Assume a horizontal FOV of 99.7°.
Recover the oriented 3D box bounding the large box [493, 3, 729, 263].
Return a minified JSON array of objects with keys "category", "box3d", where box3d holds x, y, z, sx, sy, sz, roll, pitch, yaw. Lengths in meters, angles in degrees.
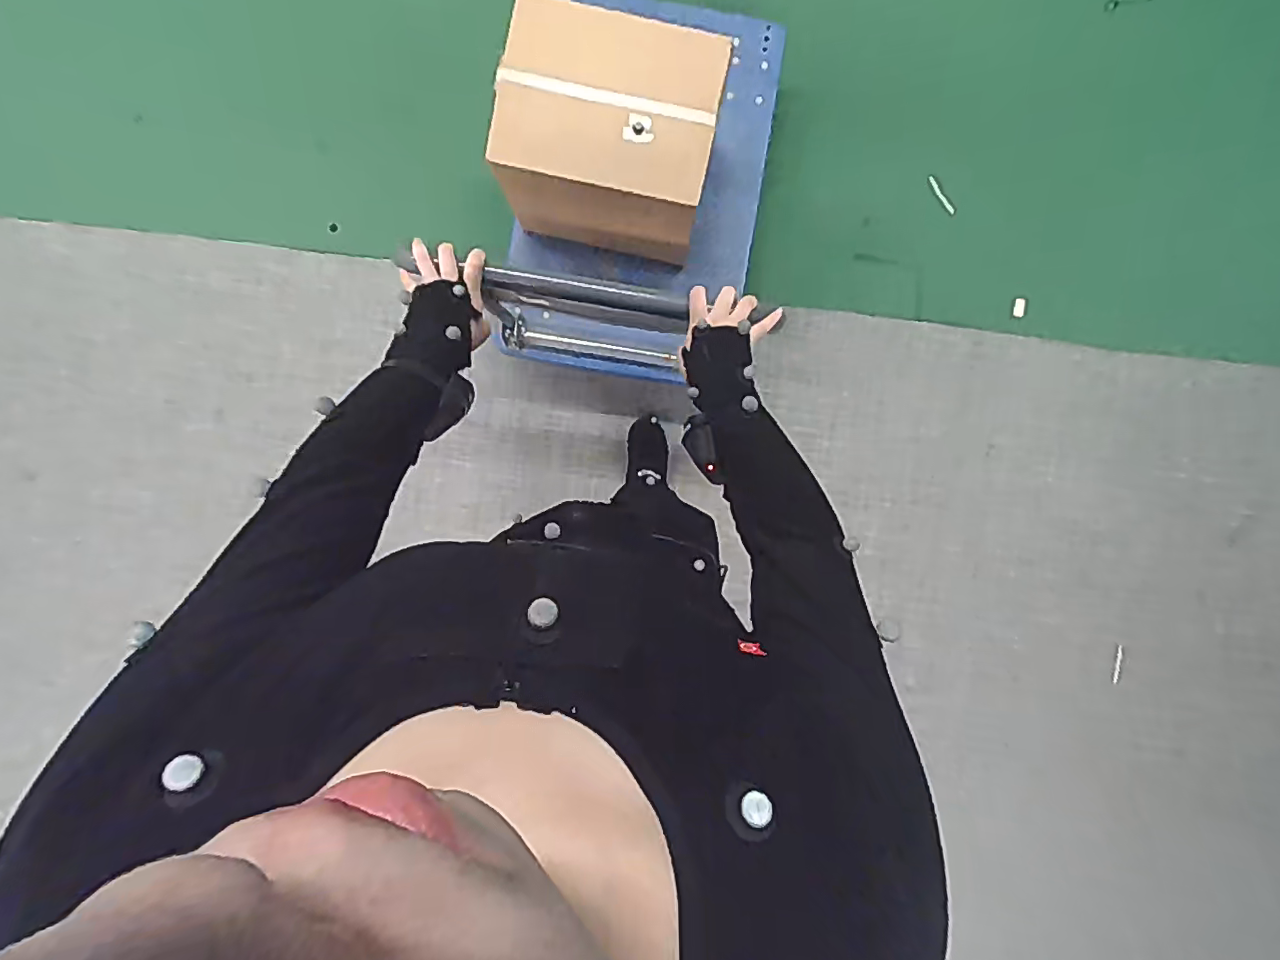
[{"category":"large box","box3d":[-0.060,-0.707,1.161,0.408,0.320,0.320,12,92,-2]}]
